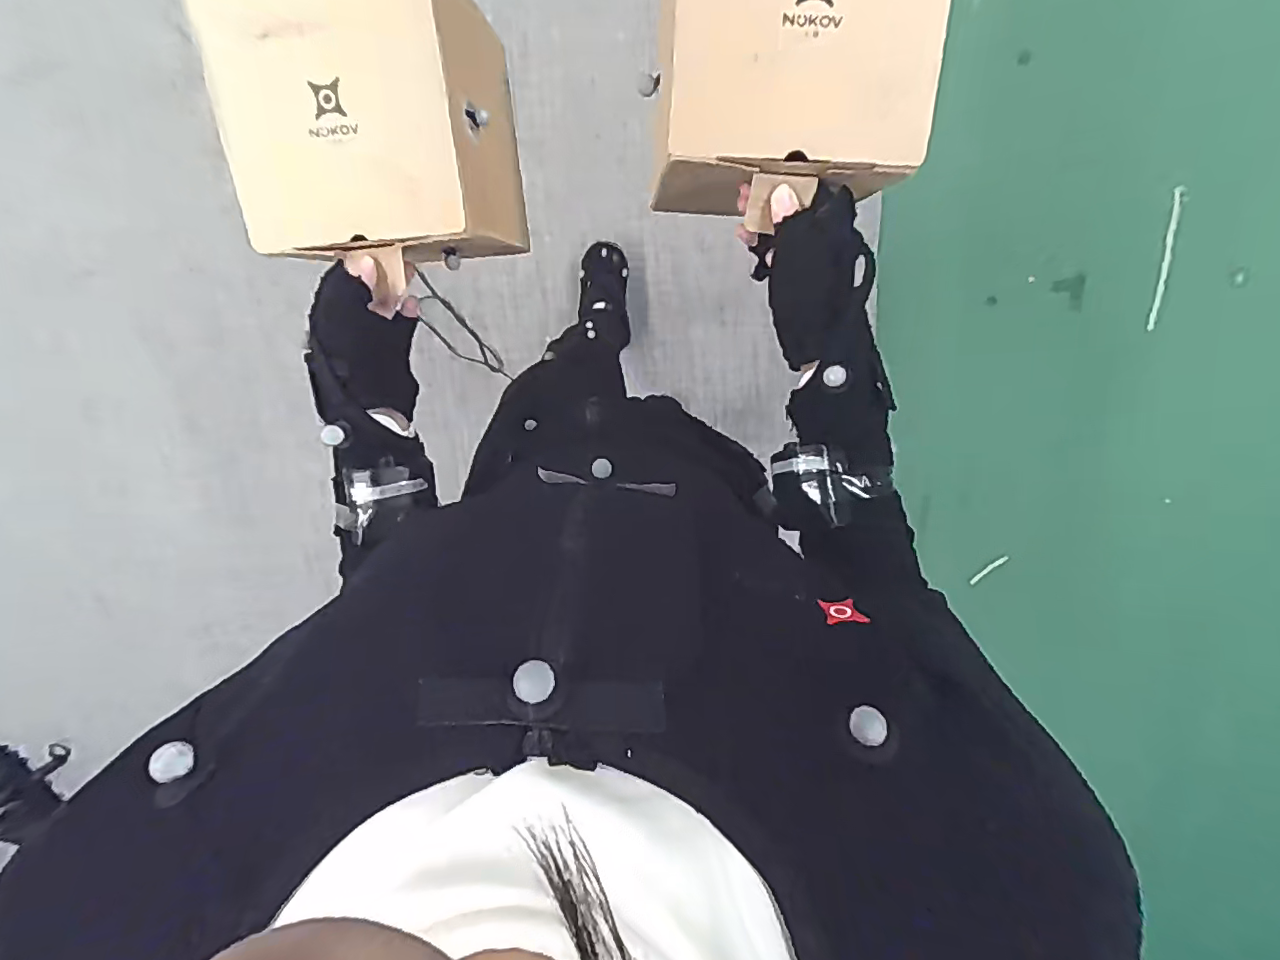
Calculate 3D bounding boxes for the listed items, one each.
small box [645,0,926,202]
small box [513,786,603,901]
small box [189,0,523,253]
[{"bbox_3d":[0.091,-0.317,0.403,0.168,0.176,0.179,1,107,-3],"label":"small box"},{"bbox_3d":[-0.191,0.865,1.300,0.179,0.176,0.168,-4,100,4],"label":"small box"},{"bbox_3d":[-0.206,-0.288,0.446,0.168,0.176,0.179,-4,108,5],"label":"small box"}]
